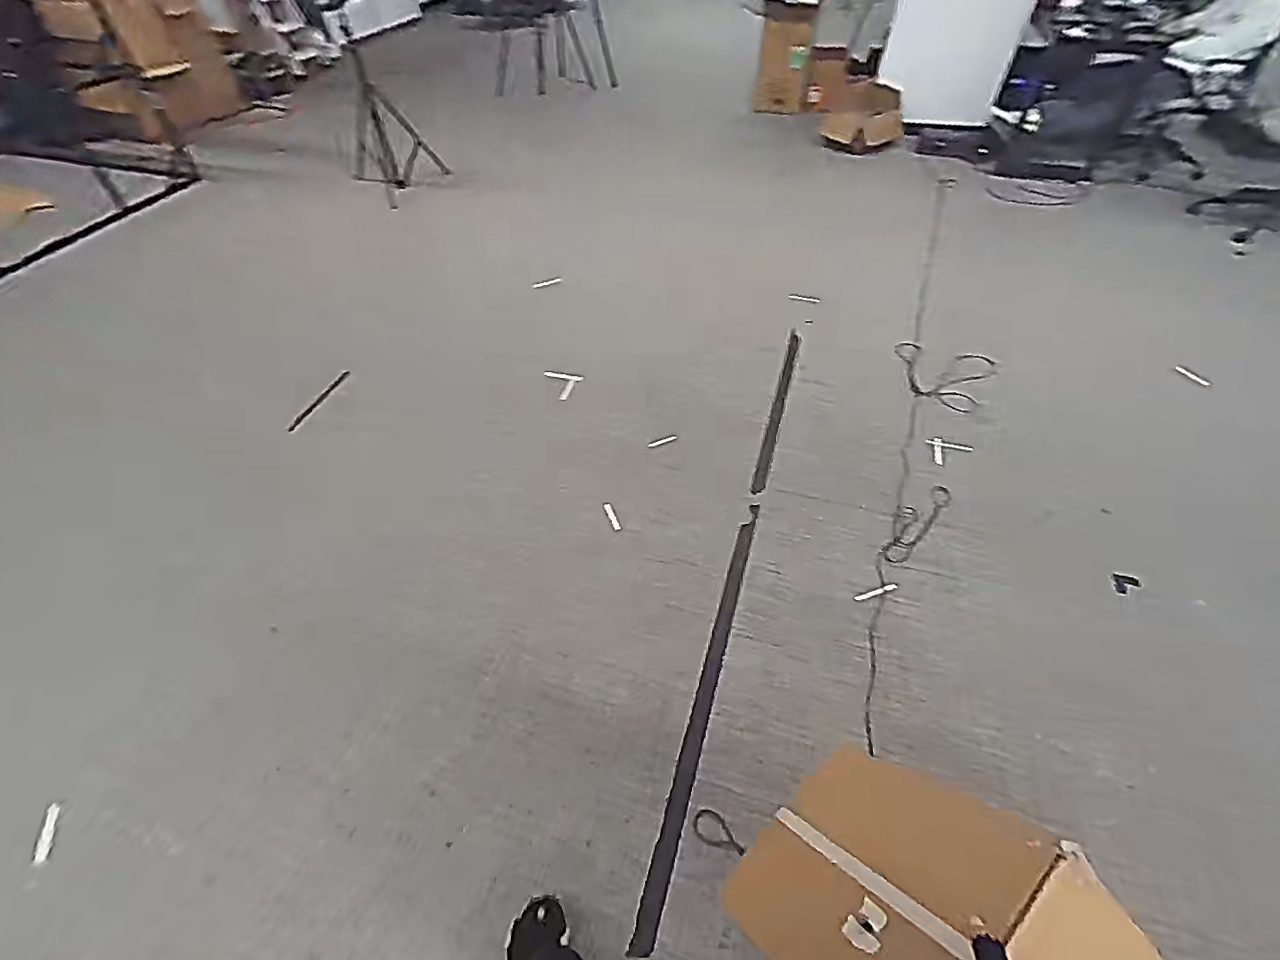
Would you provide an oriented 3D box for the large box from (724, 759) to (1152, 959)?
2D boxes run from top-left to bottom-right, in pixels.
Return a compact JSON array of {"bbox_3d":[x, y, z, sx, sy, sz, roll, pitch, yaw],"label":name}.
[{"bbox_3d":[0.384,0.646,0.700,0.320,0.408,0.320,-37,90,-19],"label":"large box"}]
